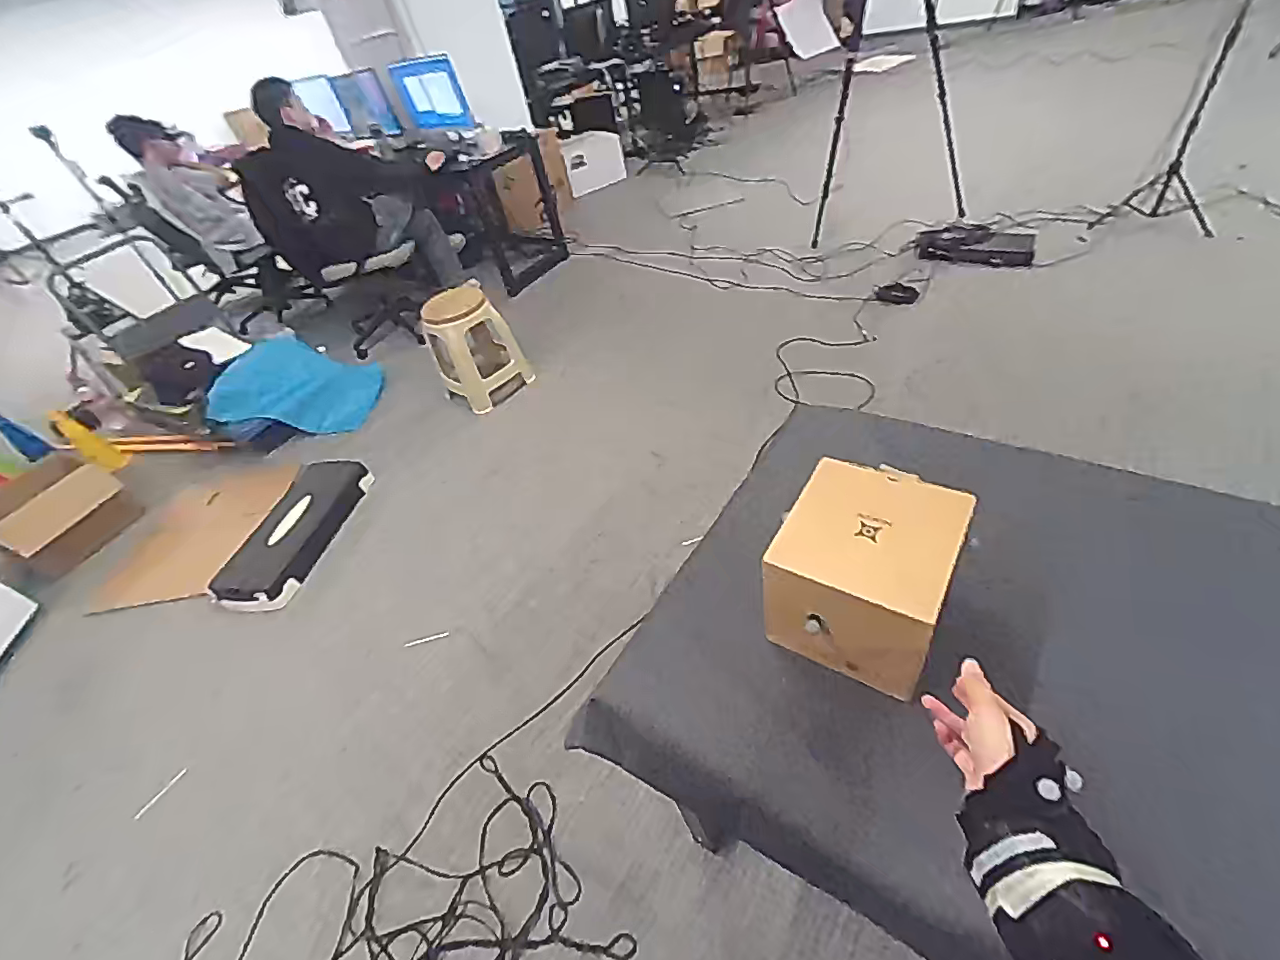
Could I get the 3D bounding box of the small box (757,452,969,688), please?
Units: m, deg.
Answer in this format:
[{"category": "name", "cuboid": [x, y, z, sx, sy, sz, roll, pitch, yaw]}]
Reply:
[{"category": "small box", "cuboid": [0.248, 0.101, 0.615, 0.168, 0.176, 0.179, 18, 51, 30]}]
